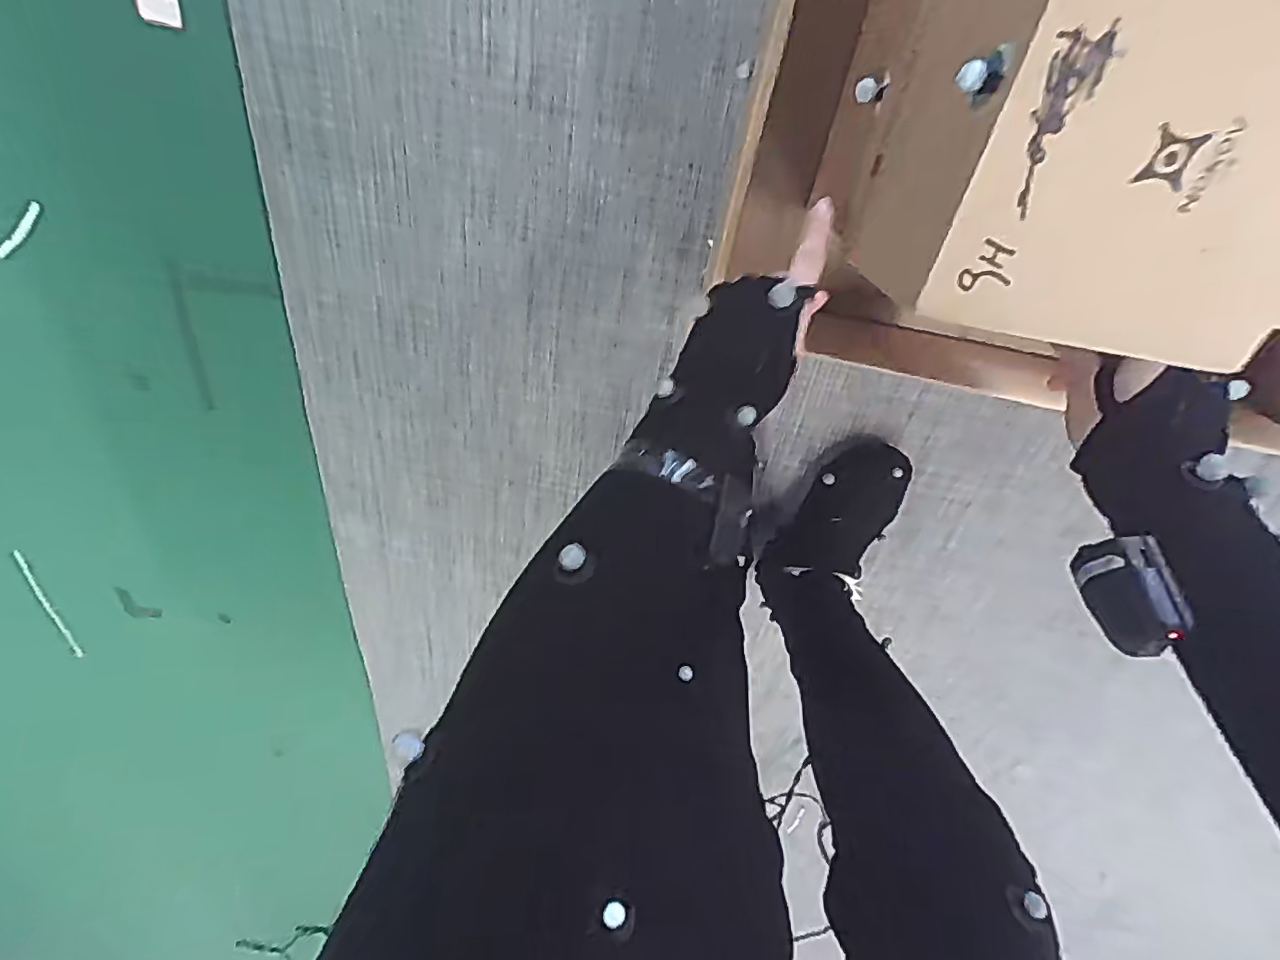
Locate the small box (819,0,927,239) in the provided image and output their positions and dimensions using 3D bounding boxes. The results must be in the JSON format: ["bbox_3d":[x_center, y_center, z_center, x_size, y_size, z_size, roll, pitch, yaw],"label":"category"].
[{"bbox_3d":[0.258,-0.281,0.436,0.168,0.176,0.179,11,122,-1],"label":"small box"}]

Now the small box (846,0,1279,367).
[{"bbox_3d":[0.245,-0.183,0.304,0.179,0.176,0.168,10,122,-2],"label":"small box"}]
